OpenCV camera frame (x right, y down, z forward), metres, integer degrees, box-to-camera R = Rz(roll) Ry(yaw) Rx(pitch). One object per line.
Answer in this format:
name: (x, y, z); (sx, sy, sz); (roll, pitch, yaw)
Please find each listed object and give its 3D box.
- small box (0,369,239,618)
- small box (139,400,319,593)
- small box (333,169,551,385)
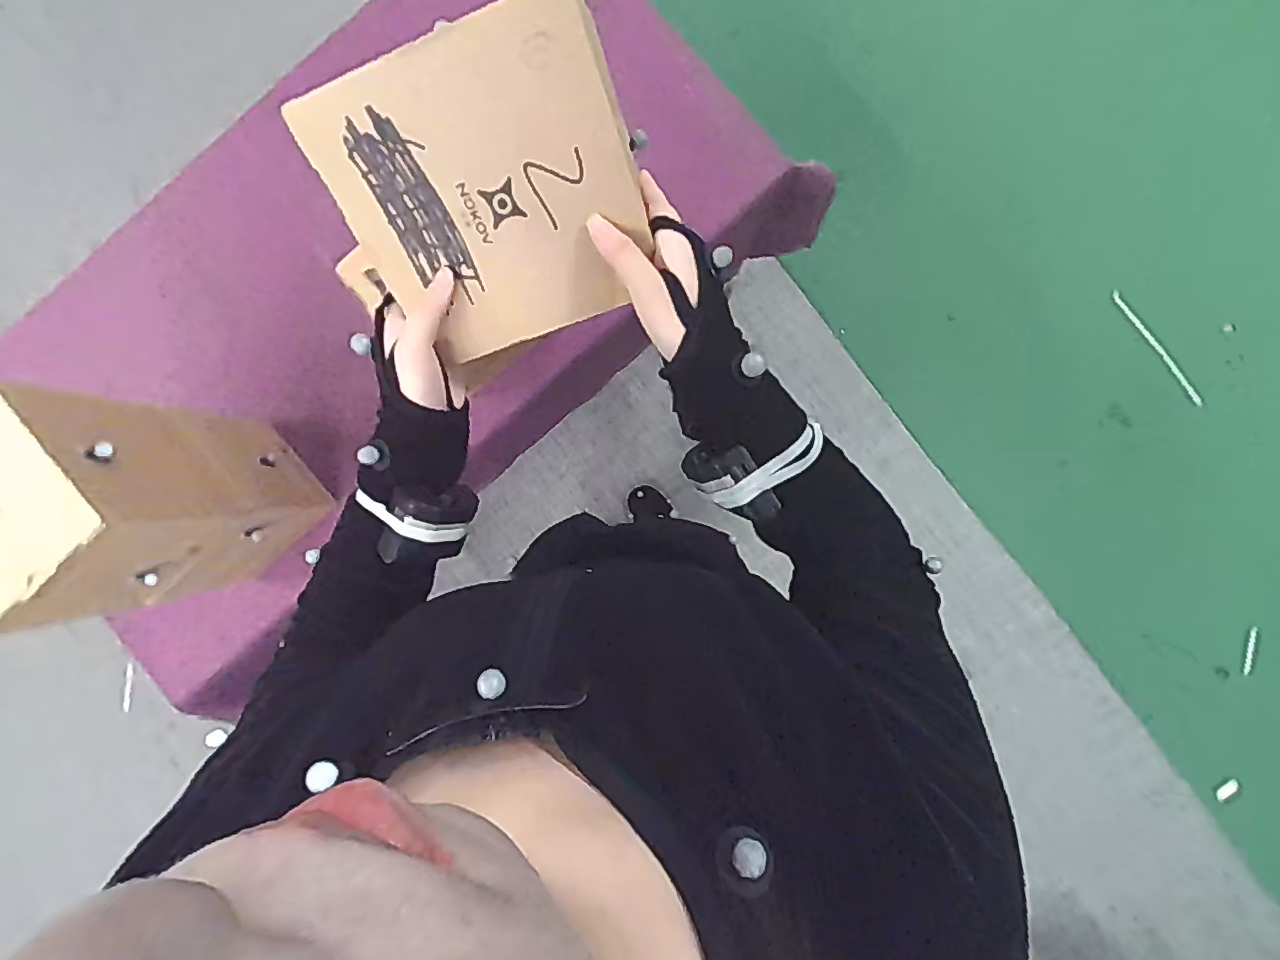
small box: (-0.582, 0.017, 0.557); (0.168, 0.176, 0.179); (-41, 90, 1)
small box: (-0.571, 0.019, 0.720); (0.179, 0.176, 0.168); (-41, 88, 1)
small box: (-0.241, -0.246, 0.708); (0.179, 0.176, 0.168); (-39, 89, 1)
